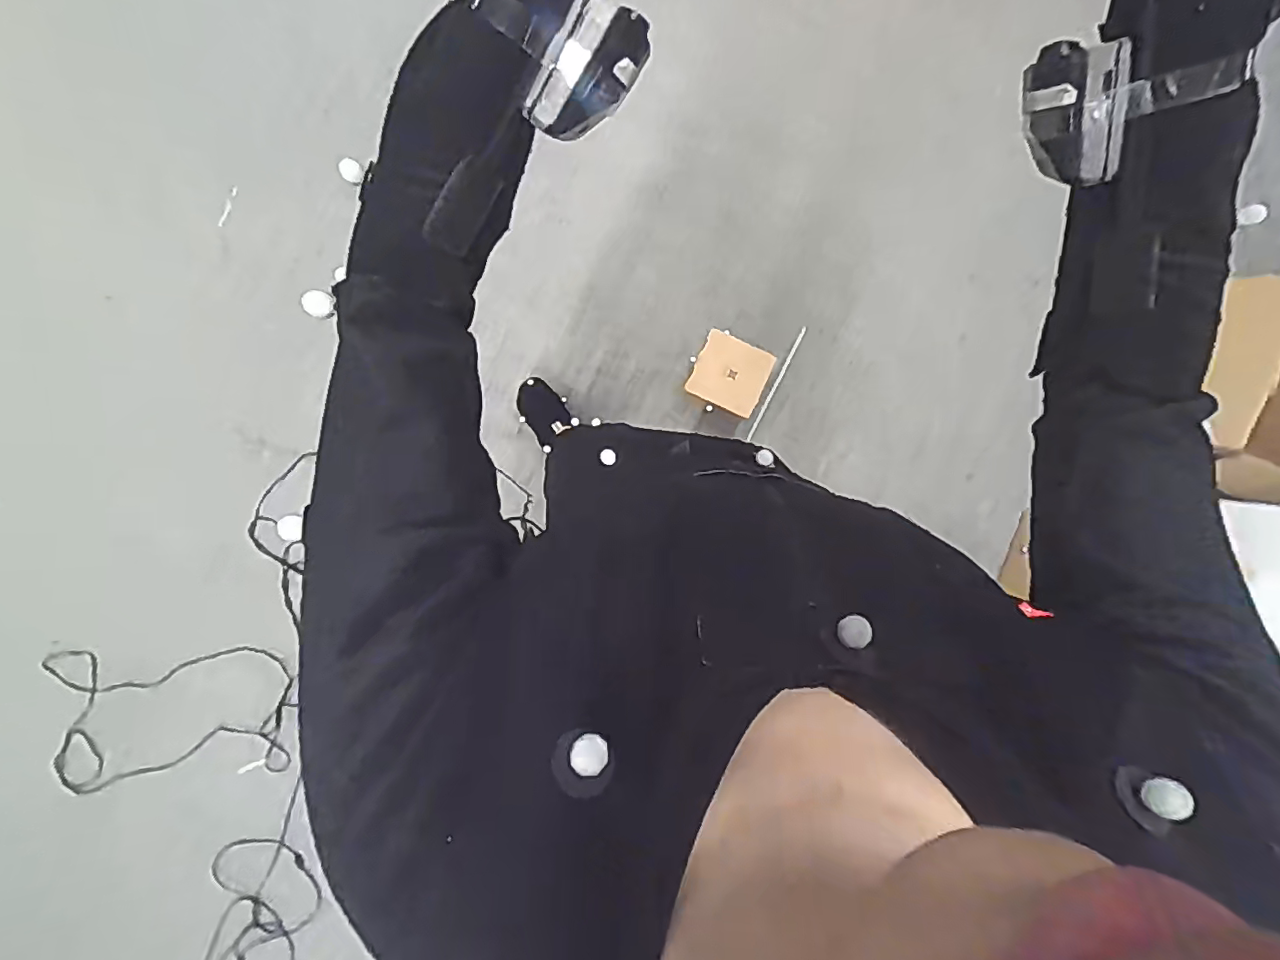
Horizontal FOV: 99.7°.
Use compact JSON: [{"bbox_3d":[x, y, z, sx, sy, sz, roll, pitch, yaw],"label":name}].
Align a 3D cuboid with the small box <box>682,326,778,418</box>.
[{"bbox_3d":[0.219,-0.265,1.369,0.179,0.176,0.168,25,94,-1],"label":"small box"}]
